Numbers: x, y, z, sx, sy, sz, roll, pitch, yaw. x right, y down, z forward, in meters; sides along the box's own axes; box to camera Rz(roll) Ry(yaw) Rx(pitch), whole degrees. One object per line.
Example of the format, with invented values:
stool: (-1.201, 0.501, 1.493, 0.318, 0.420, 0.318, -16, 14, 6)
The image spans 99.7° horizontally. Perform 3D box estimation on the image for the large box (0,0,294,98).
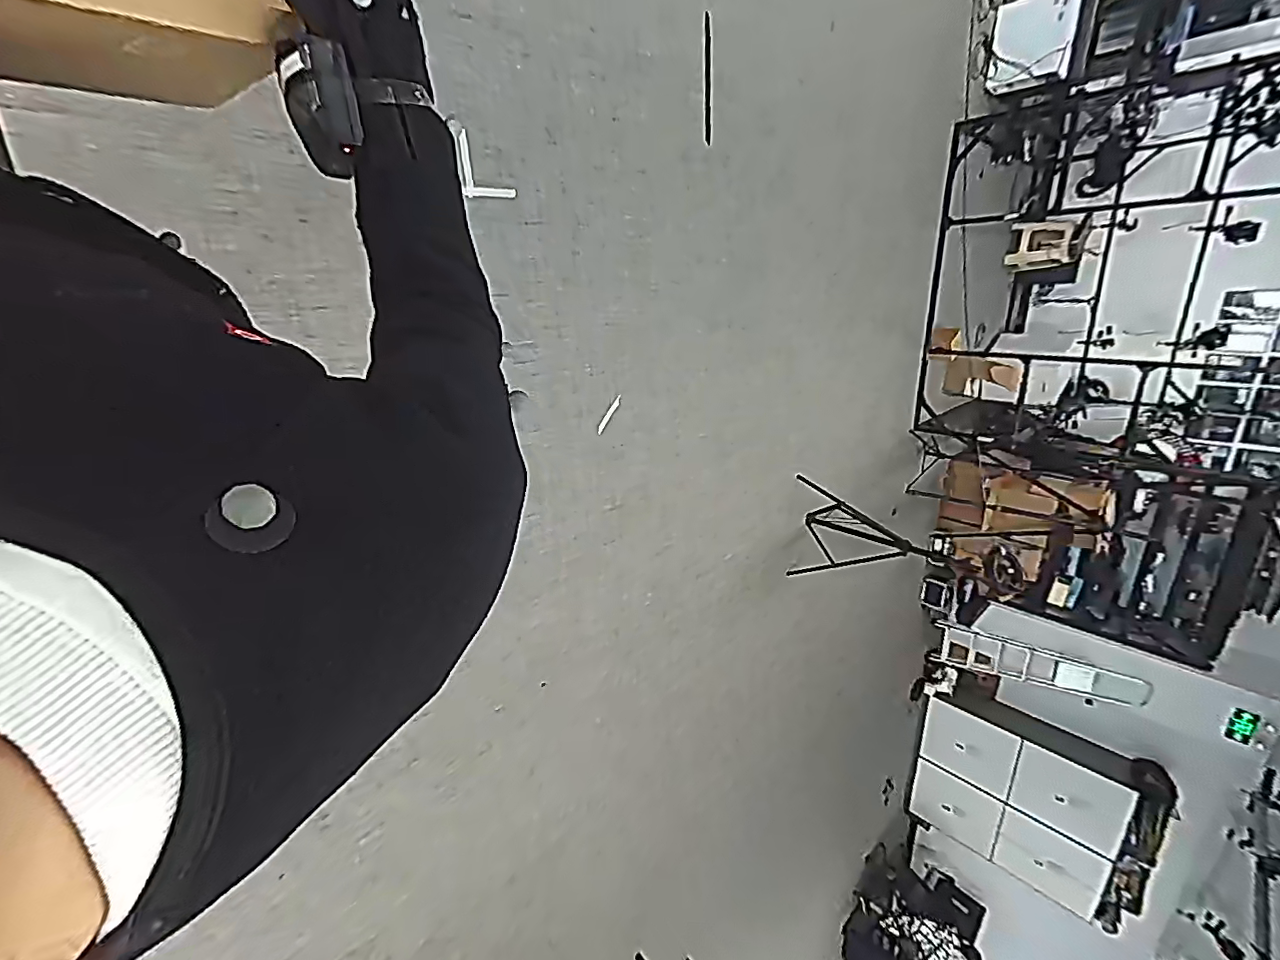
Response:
large box: (-0.466, -0.413, 0.256, 0.408, 0.320, 0.320, -21, 125, -40)
